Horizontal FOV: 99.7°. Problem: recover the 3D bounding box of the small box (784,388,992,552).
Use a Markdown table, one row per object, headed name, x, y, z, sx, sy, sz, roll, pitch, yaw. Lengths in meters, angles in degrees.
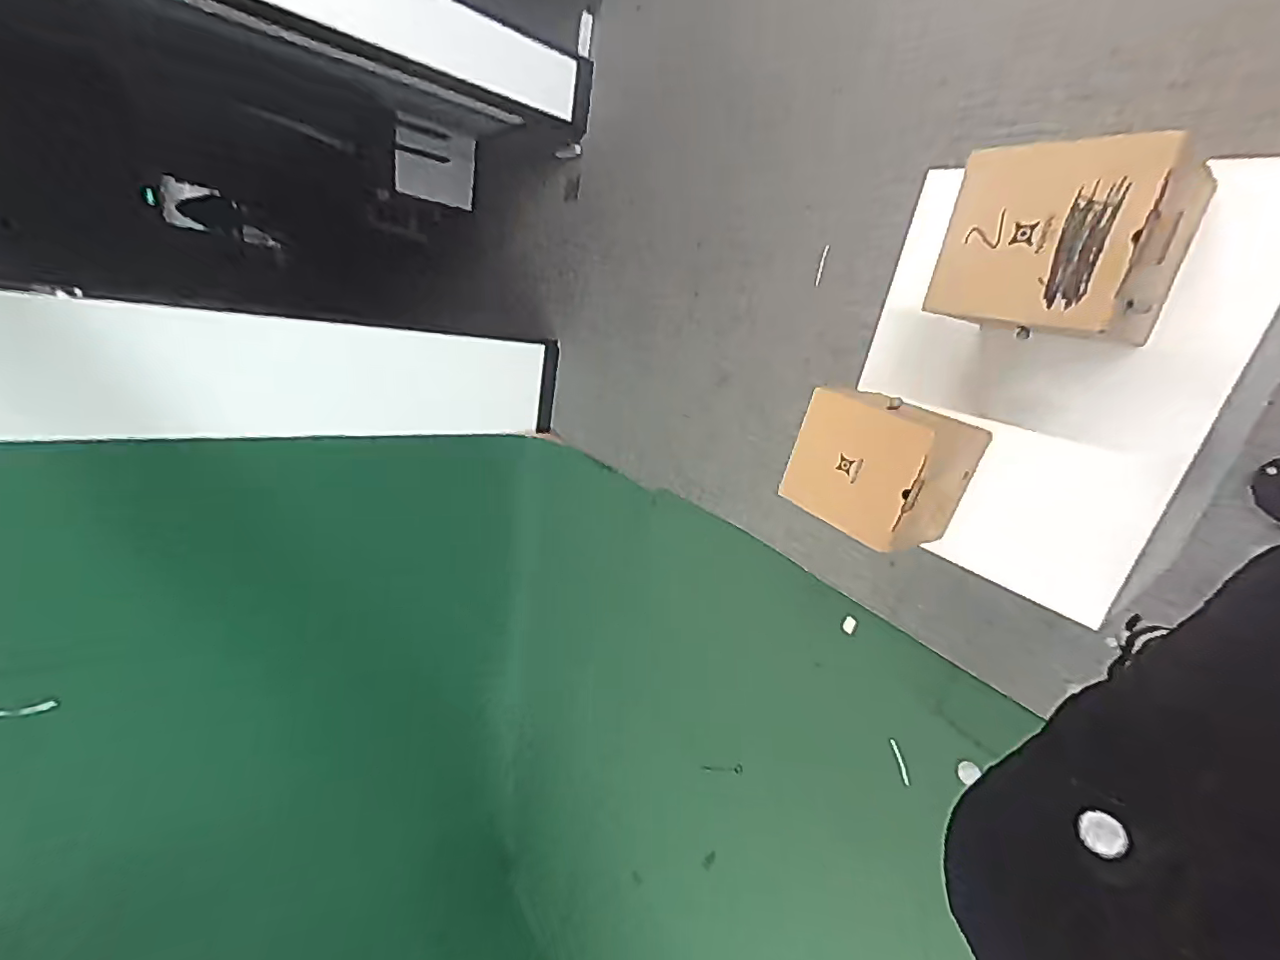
| name | x | y | z | sx | sy | sz | roll | pitch | yaw |
| --- | --- | --- | --- | --- | --- | --- | --- | --- | --- |
| small box | 0.341 | -0.019 | 0.752 | 0.179 | 0.176 | 0.168 | 35 | 119 | 44 |
